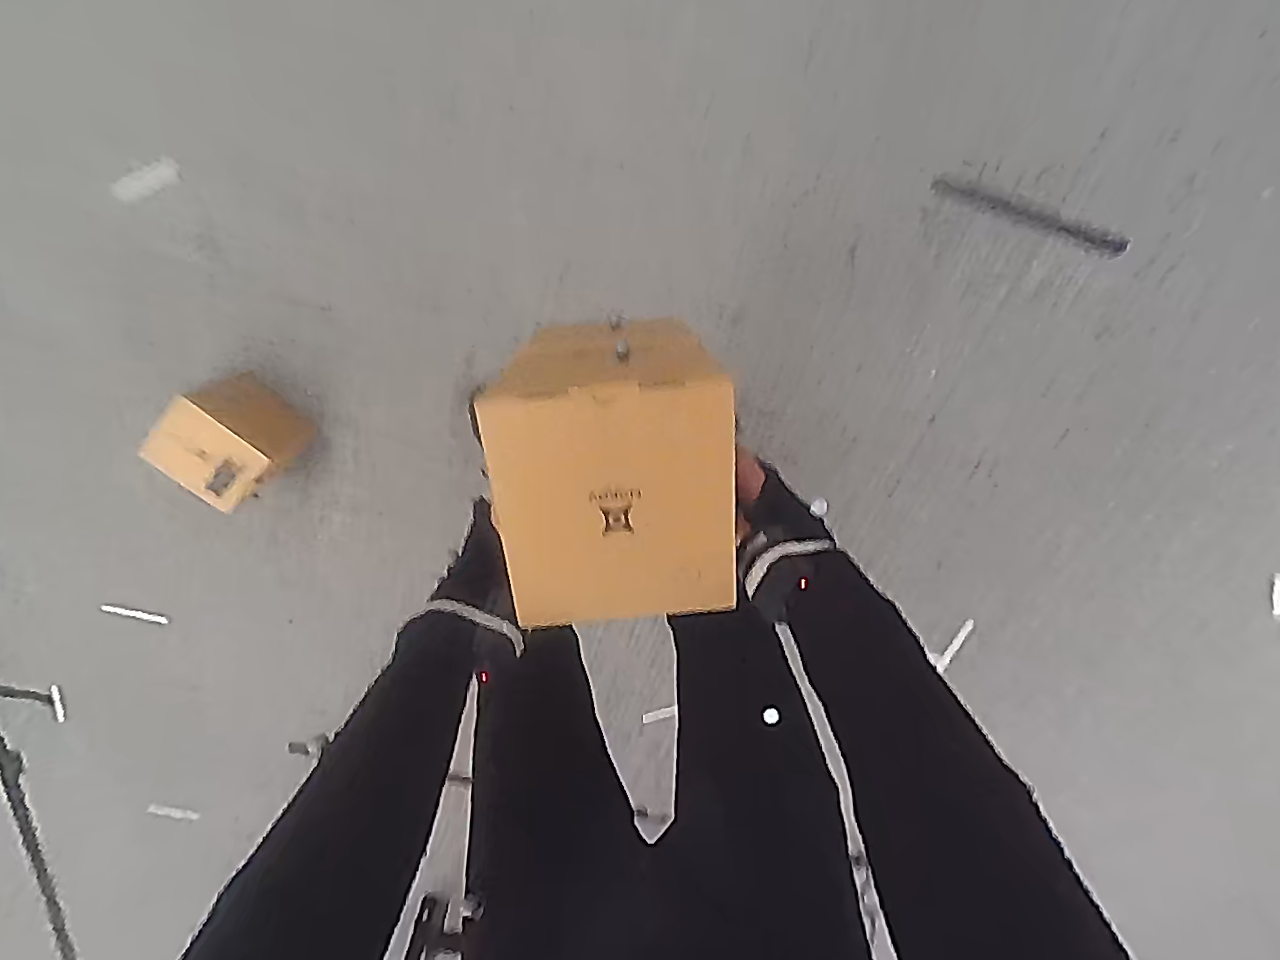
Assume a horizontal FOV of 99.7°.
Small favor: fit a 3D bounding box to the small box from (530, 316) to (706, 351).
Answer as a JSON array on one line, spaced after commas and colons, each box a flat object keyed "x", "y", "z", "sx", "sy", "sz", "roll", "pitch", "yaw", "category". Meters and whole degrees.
[{"x": -0.022, "y": -0.085, "z": 0.598, "sx": 0.168, "sy": 0.176, "sz": 0.179, "roll": -3, "pitch": 113, "yaw": -1, "category": "small box"}]

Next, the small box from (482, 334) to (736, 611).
[{"x": -0.016, "y": -0.016, "z": 0.449, "sx": 0.168, "sy": 0.176, "sz": 0.179, "roll": -5, "pitch": 112, "yaw": 0, "category": "small box"}]
